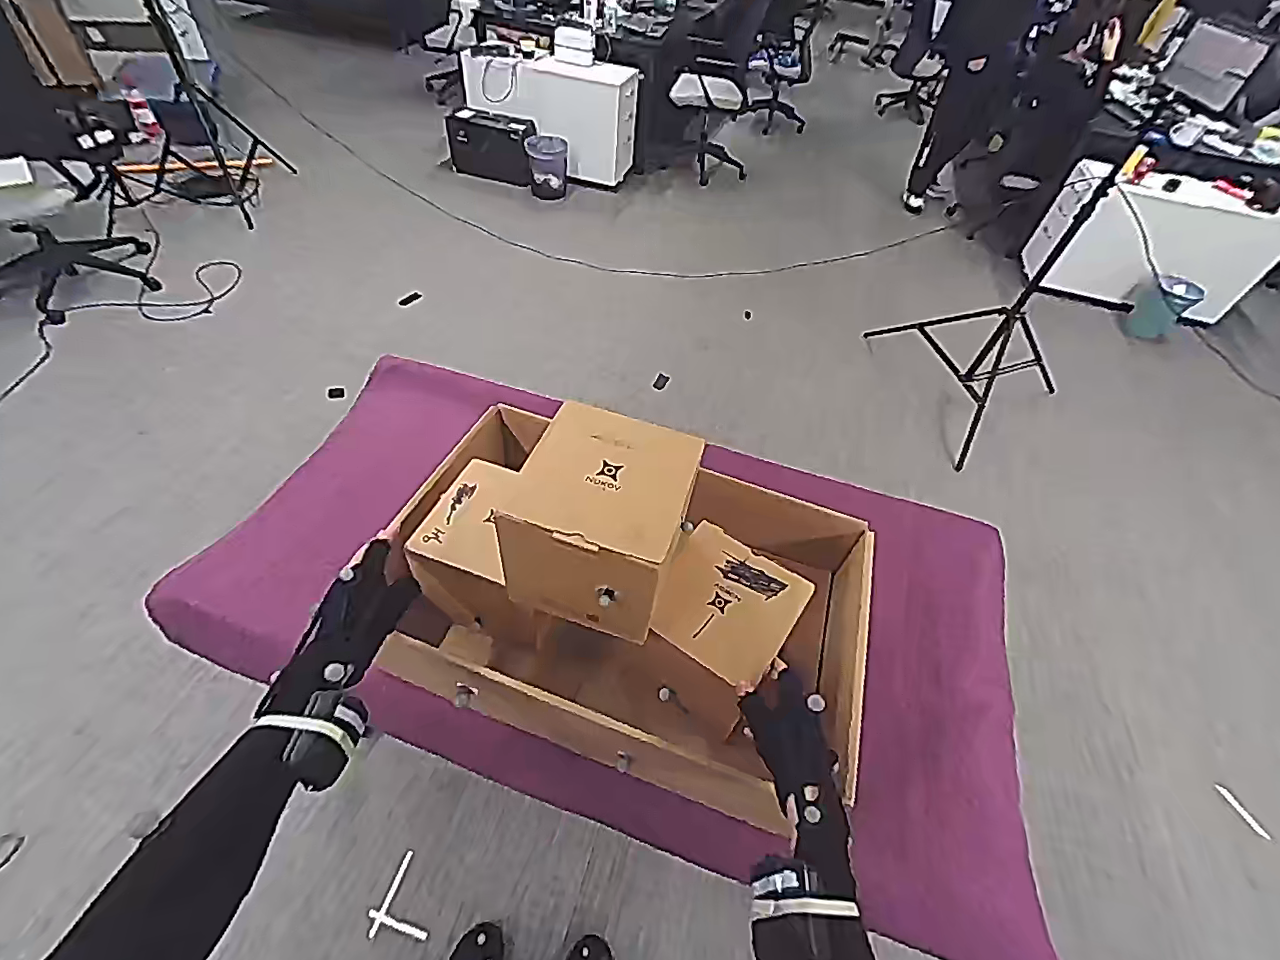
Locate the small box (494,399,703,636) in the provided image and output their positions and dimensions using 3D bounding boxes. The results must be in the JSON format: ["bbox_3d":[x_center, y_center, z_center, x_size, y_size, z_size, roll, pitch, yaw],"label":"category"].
[{"bbox_3d":[-0.040,0.044,0.600,0.168,0.176,0.179,17,48,7],"label":"small box"}]
